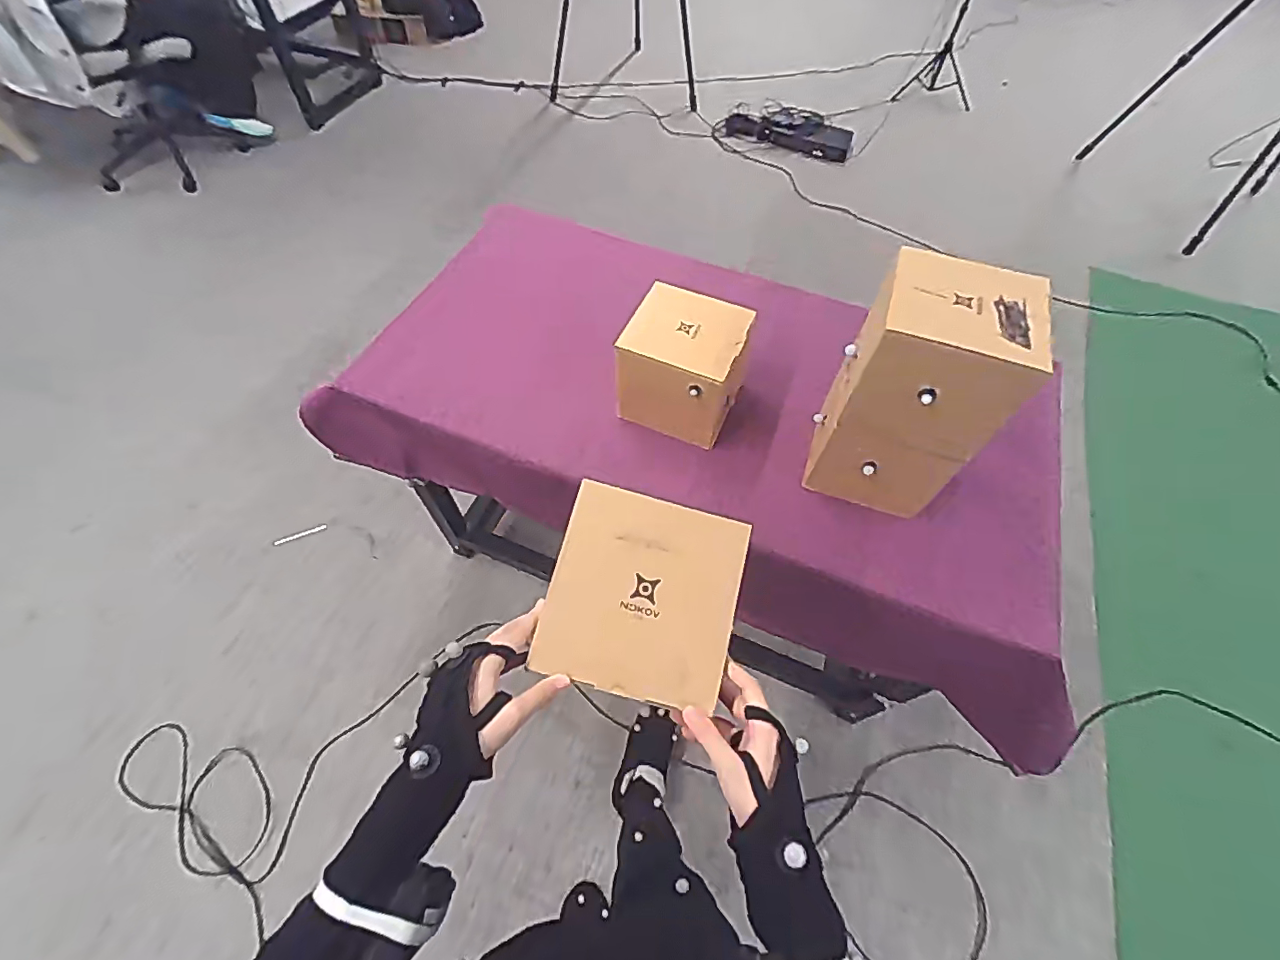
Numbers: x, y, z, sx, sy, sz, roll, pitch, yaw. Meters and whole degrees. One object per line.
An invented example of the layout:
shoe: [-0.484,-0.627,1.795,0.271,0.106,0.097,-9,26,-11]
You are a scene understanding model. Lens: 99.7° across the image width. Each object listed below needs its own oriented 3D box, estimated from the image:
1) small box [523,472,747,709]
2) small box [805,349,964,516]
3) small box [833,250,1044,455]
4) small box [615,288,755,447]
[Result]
small box: [-0.007,0.118,0.558,0.168,0.176,0.179,17,70,-2]
small box: [0.368,-0.067,0.829,0.179,0.176,0.168,17,59,10]
small box: [0.370,-0.155,0.689,0.179,0.176,0.168,19,58,11]
small box: [0.069,-0.182,0.898,0.179,0.176,0.168,21,58,11]
